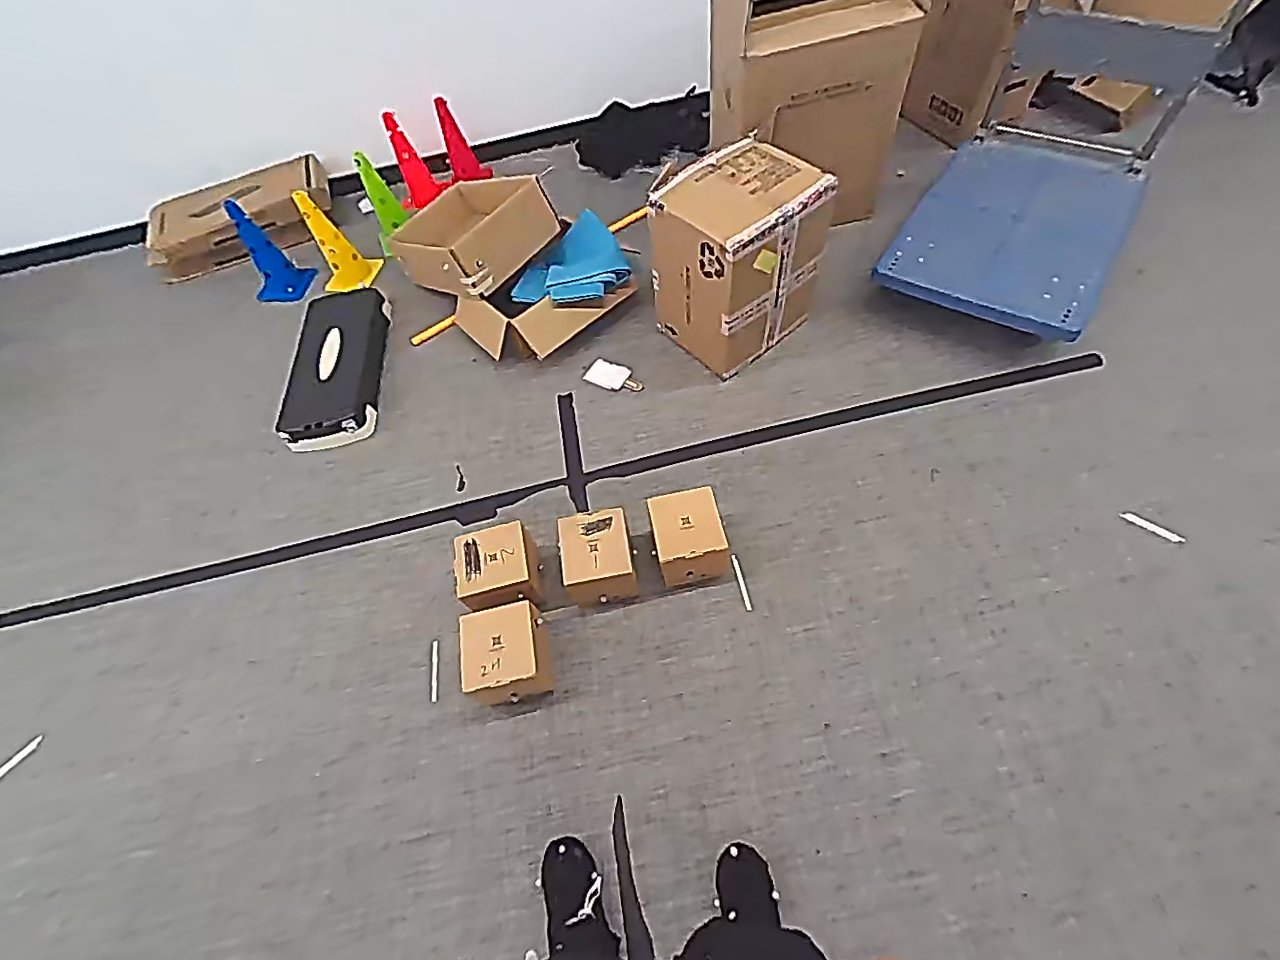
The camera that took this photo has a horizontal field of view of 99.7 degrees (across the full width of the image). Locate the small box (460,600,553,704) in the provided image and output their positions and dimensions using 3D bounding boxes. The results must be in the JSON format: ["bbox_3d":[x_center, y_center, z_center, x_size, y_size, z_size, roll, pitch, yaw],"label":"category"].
[{"bbox_3d":[-0.308,0.404,1.259,0.168,0.176,0.179,-14,58,0],"label":"small box"}]

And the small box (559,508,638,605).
[{"bbox_3d":[-0.102,0.196,1.360,0.168,0.176,0.179,-11,59,1],"label":"small box"}]

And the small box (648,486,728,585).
[{"bbox_3d":[0.118,0.143,1.368,0.168,0.176,0.179,-12,59,-1],"label":"small box"}]
